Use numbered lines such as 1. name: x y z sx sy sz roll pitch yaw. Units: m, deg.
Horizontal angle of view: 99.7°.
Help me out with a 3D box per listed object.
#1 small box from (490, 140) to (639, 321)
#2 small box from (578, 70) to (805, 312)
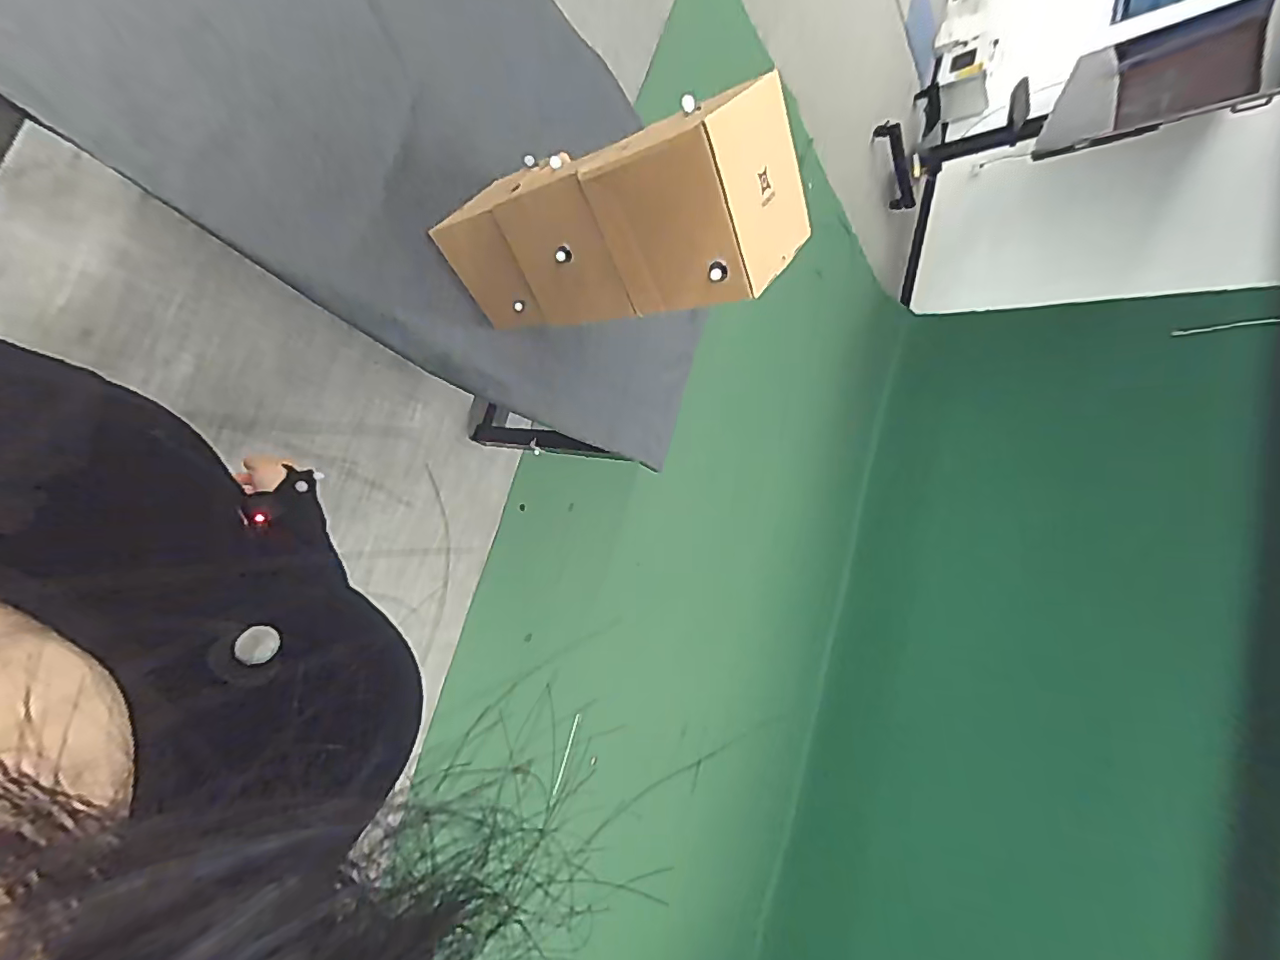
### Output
1. small box: -0.059 -0.325 0.716 0.168 0.176 0.179 -49 129 -33
2. small box: 0.061 -0.310 0.608 0.168 0.176 0.179 -52 131 -31
